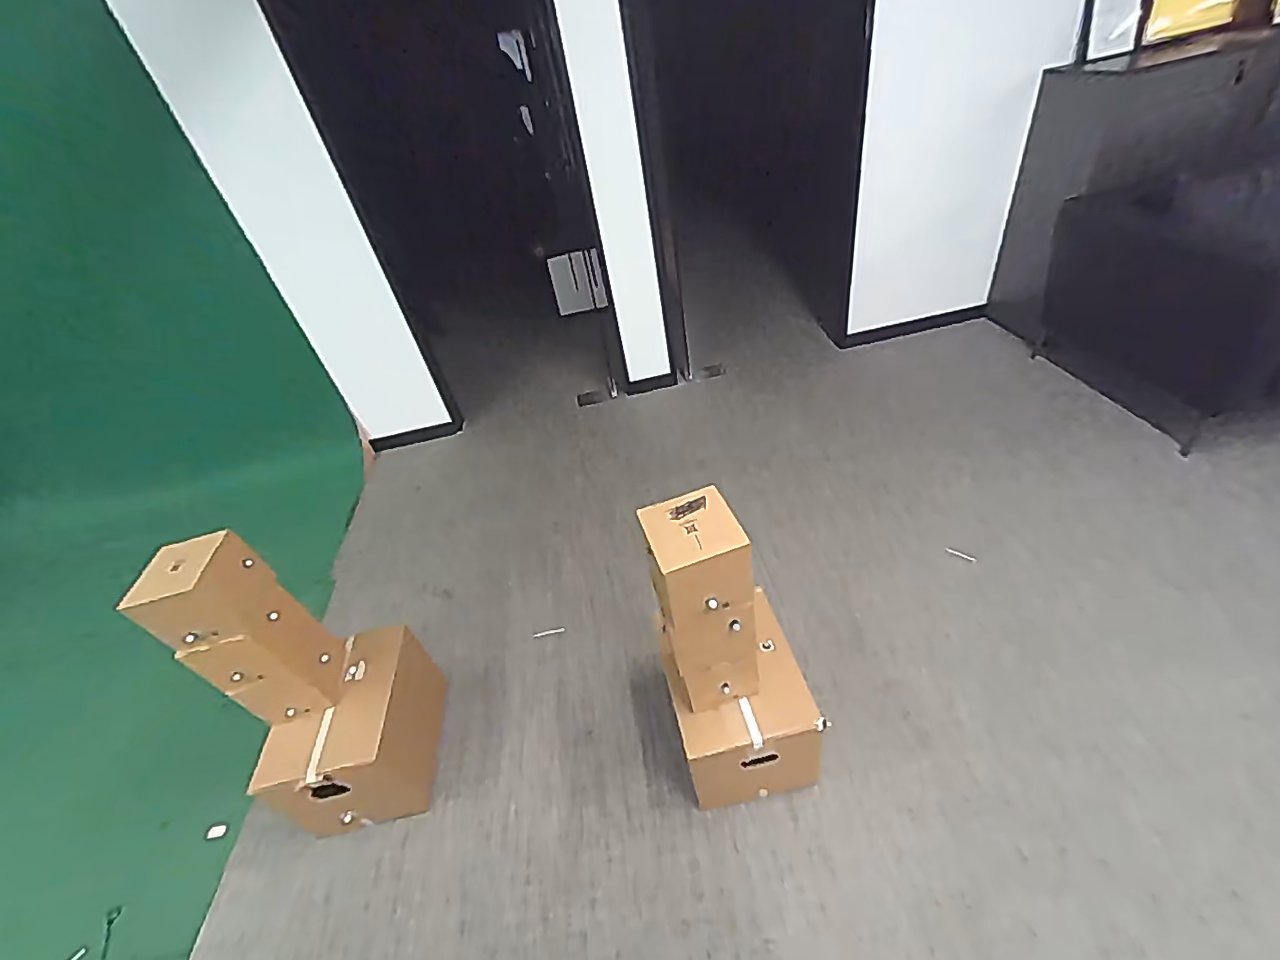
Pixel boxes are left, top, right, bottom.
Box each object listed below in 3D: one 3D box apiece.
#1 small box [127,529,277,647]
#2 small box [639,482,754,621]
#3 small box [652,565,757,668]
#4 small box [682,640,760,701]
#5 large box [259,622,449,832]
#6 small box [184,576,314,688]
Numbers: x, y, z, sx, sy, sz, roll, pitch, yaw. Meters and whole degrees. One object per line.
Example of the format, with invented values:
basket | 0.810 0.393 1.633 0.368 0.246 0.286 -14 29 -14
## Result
small box | -0.961 0.243 1.211 0.168 0.176 0.179 -16 41 2
small box | 0.109 0.139 1.046 0.168 0.176 0.179 -19 41 -5
small box | 0.138 0.266 1.146 0.179 0.176 0.168 -17 39 -3
small box | 0.170 0.387 1.255 0.168 0.176 0.179 -17 40 -3
large box | -0.764 0.688 1.526 0.320 0.320 0.408 -14 39 -1
small box | -0.929 0.369 1.310 0.168 0.176 0.179 -17 41 1
